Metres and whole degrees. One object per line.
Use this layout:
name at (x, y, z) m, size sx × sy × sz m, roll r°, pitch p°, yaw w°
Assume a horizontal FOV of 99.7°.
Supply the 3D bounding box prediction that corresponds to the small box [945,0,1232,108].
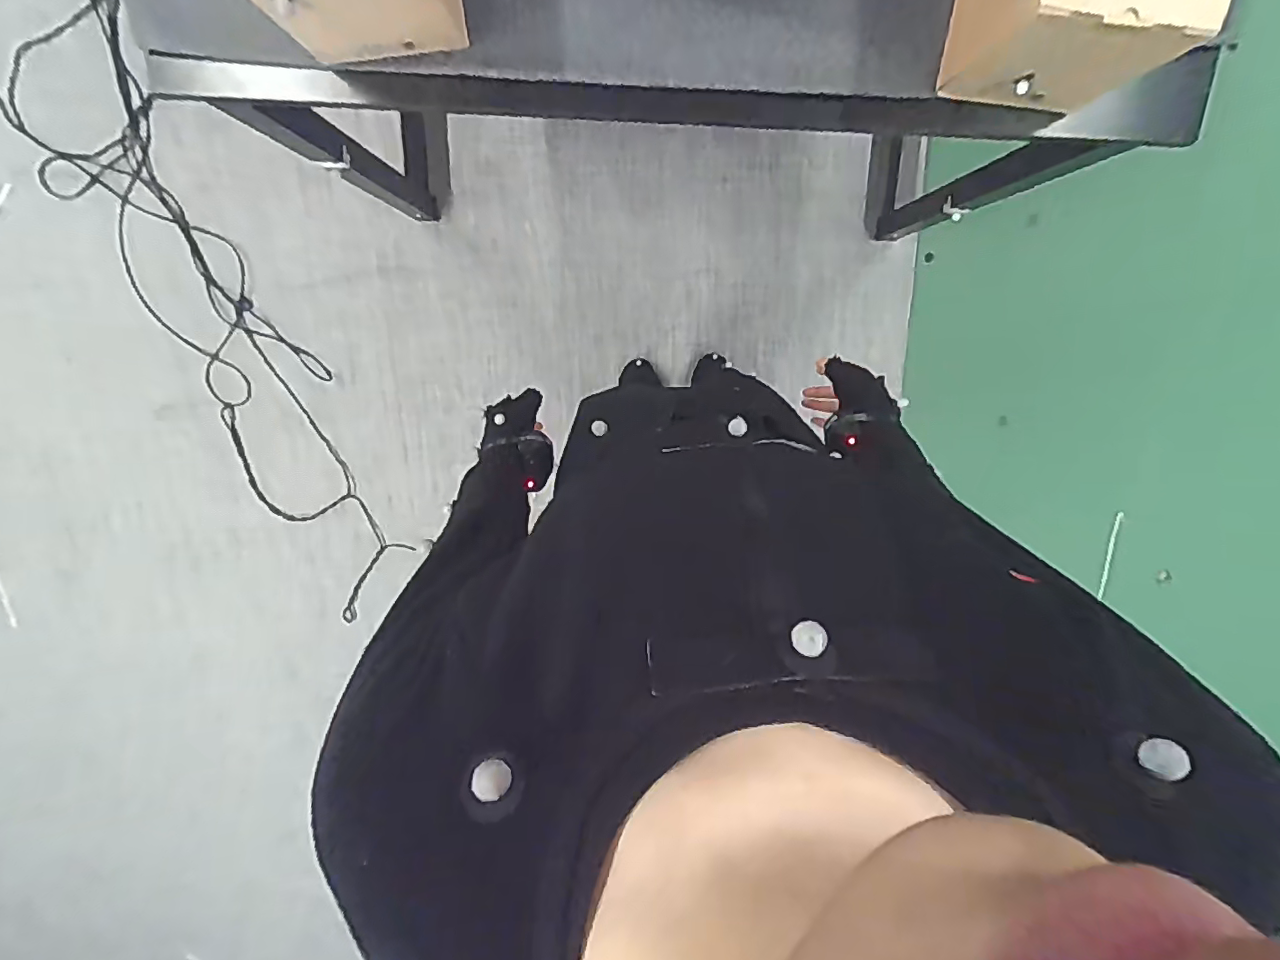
small box at (0.431, -0.499, 0.522) m, size 0.168 × 0.176 × 0.179 m, roll 6°, pitch 106°, yaw -2°
